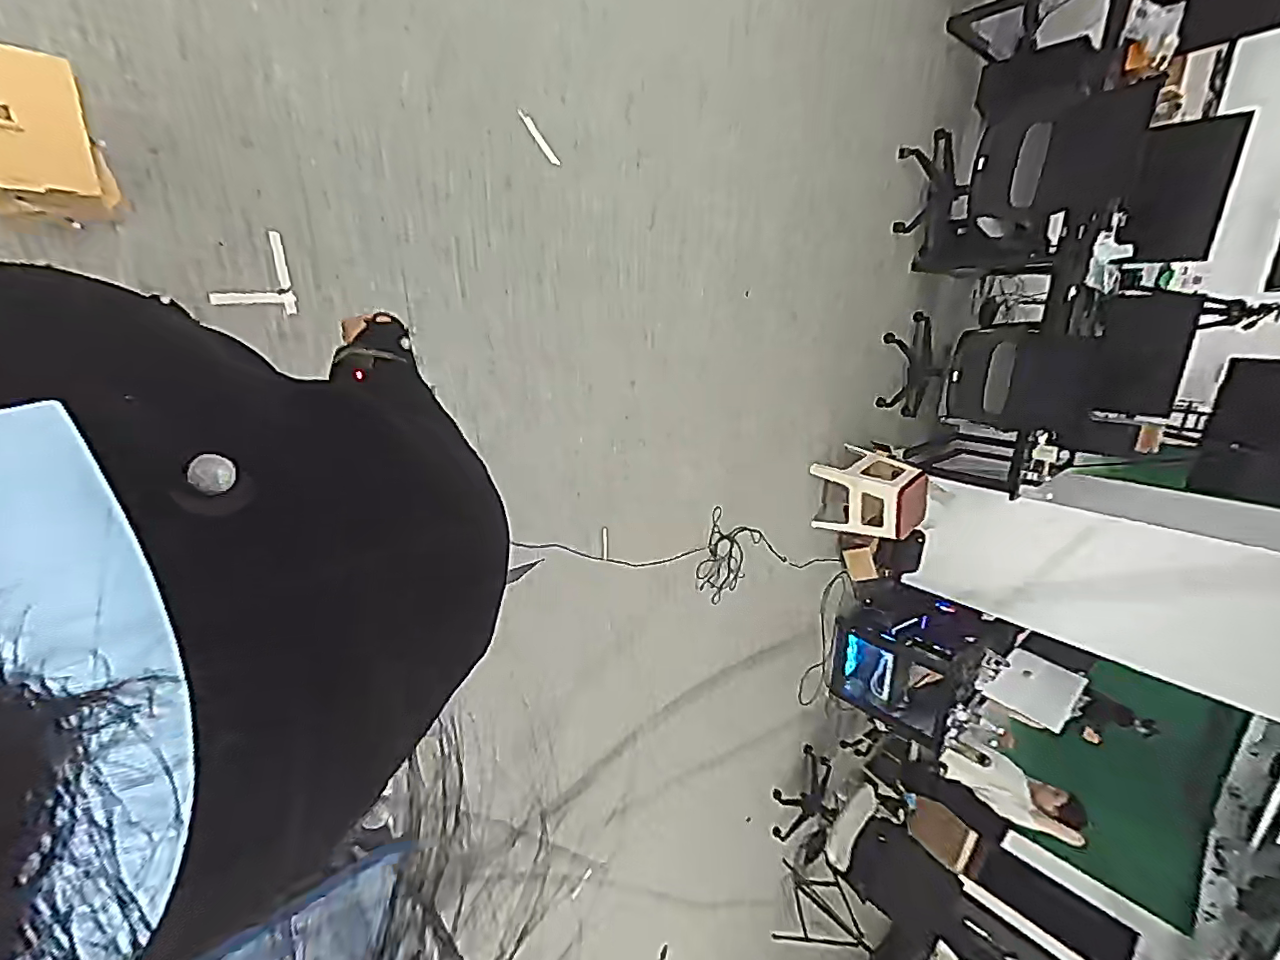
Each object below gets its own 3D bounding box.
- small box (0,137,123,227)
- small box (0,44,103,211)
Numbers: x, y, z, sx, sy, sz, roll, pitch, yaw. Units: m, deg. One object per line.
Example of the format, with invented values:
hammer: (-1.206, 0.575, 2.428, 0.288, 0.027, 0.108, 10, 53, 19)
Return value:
small box: (-1.010, -0.534, 0.900, 0.168, 0.176, 0.179, -27, 120, -33)
small box: (-0.908, -0.503, 0.777, 0.168, 0.176, 0.179, -14, 112, -39)
